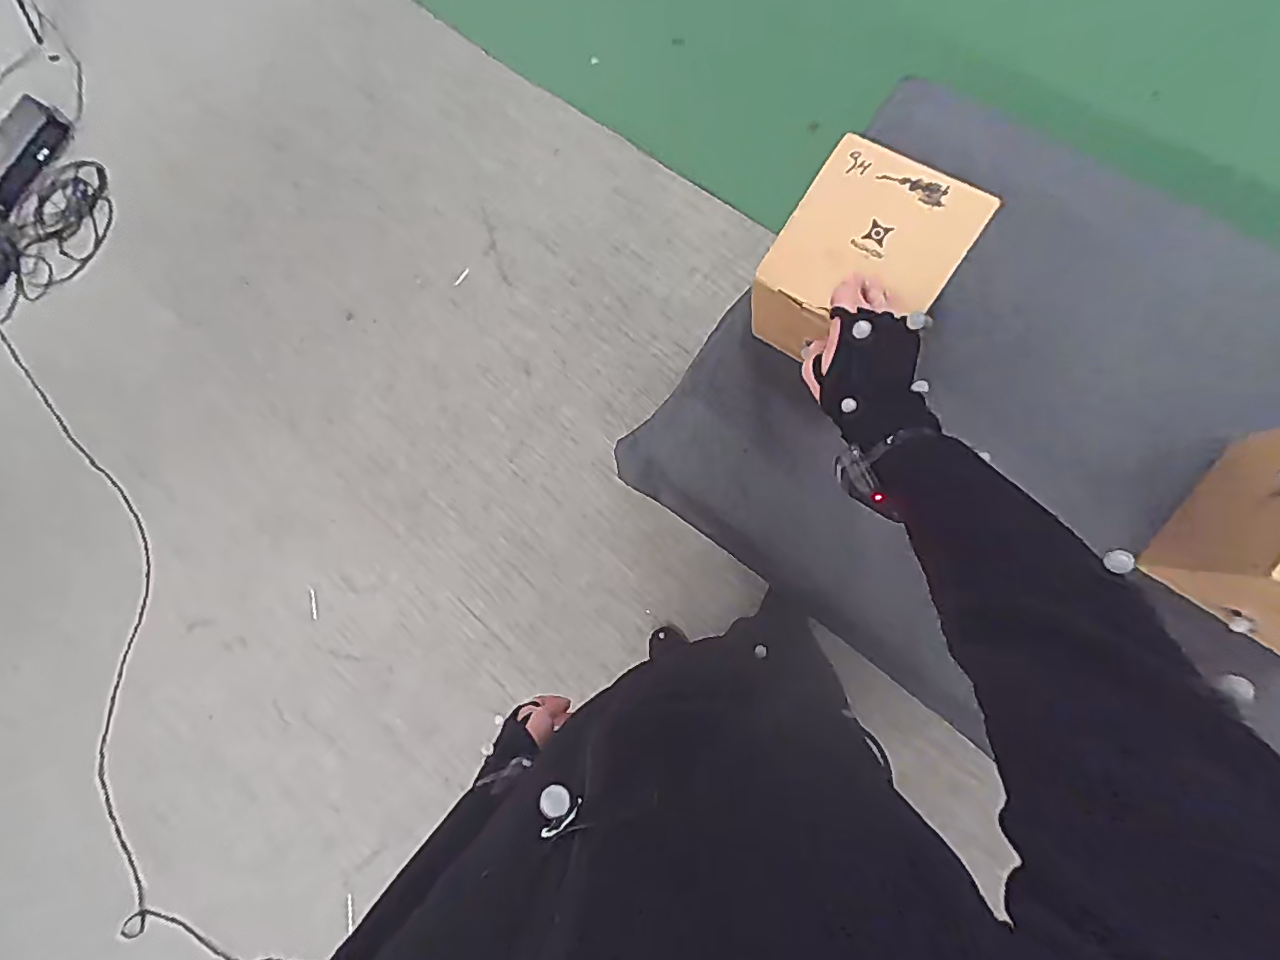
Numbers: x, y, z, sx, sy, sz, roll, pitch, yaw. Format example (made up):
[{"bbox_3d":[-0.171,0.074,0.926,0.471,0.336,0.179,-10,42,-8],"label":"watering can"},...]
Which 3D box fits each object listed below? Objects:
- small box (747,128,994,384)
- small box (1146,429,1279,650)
[{"bbox_3d":[0.240,-0.231,0.605,0.168,0.176,0.179,34,93,13],"label":"small box"},{"bbox_3d":[0.630,0.057,0.486,0.168,0.176,0.179,37,94,14],"label":"small box"}]
